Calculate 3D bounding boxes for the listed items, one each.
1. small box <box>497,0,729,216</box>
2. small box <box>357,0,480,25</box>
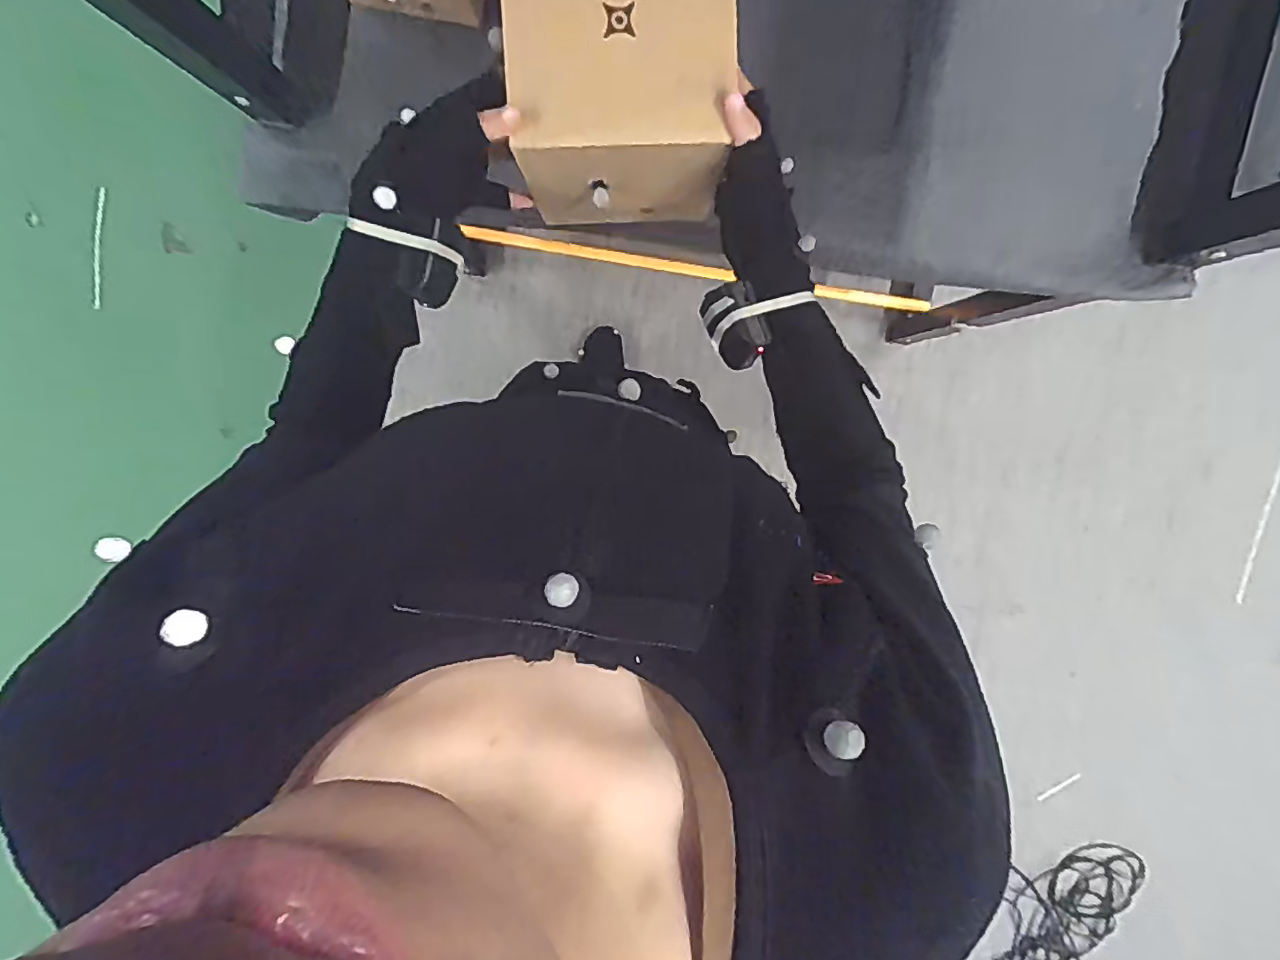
[{"bbox_3d":[-0.019,-0.339,0.458,0.168,0.176,0.179,-2,97,-1],"label":"small box"},{"bbox_3d":[-0.264,-0.645,0.572,0.168,0.176,0.179,10,99,0],"label":"small box"}]
